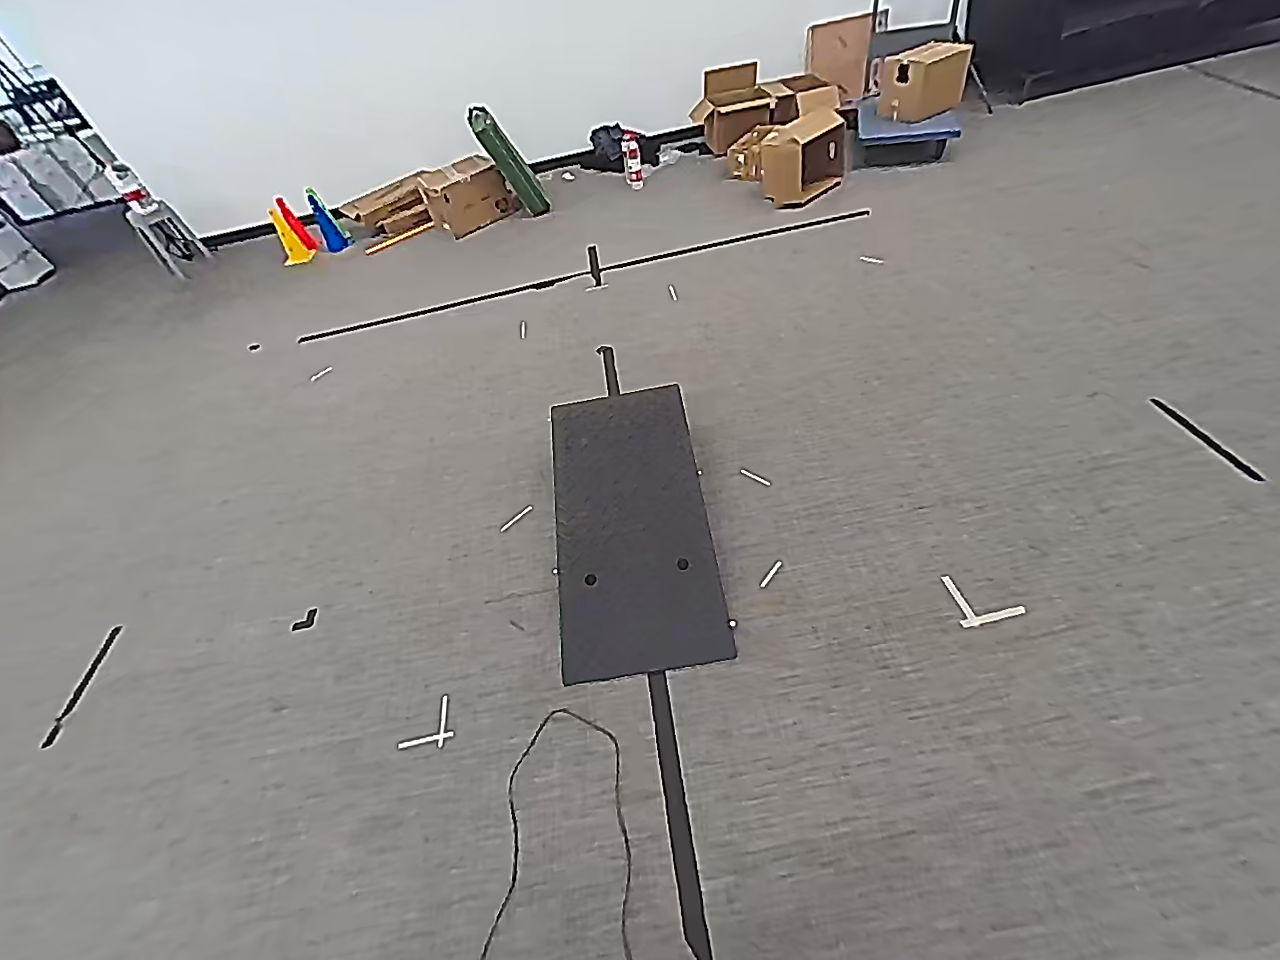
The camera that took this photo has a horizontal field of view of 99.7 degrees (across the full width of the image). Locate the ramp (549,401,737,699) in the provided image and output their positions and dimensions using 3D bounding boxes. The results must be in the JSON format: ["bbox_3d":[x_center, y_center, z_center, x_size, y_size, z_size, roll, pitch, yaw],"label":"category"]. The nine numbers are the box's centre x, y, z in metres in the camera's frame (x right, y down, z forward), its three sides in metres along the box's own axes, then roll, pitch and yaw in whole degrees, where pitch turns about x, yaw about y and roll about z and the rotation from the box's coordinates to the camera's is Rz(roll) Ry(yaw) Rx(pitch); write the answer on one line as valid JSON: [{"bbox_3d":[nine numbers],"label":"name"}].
[{"bbox_3d":[-0.035,0.159,1.772,0.509,0.206,0.991,-12,46,0],"label":"ramp"}]
